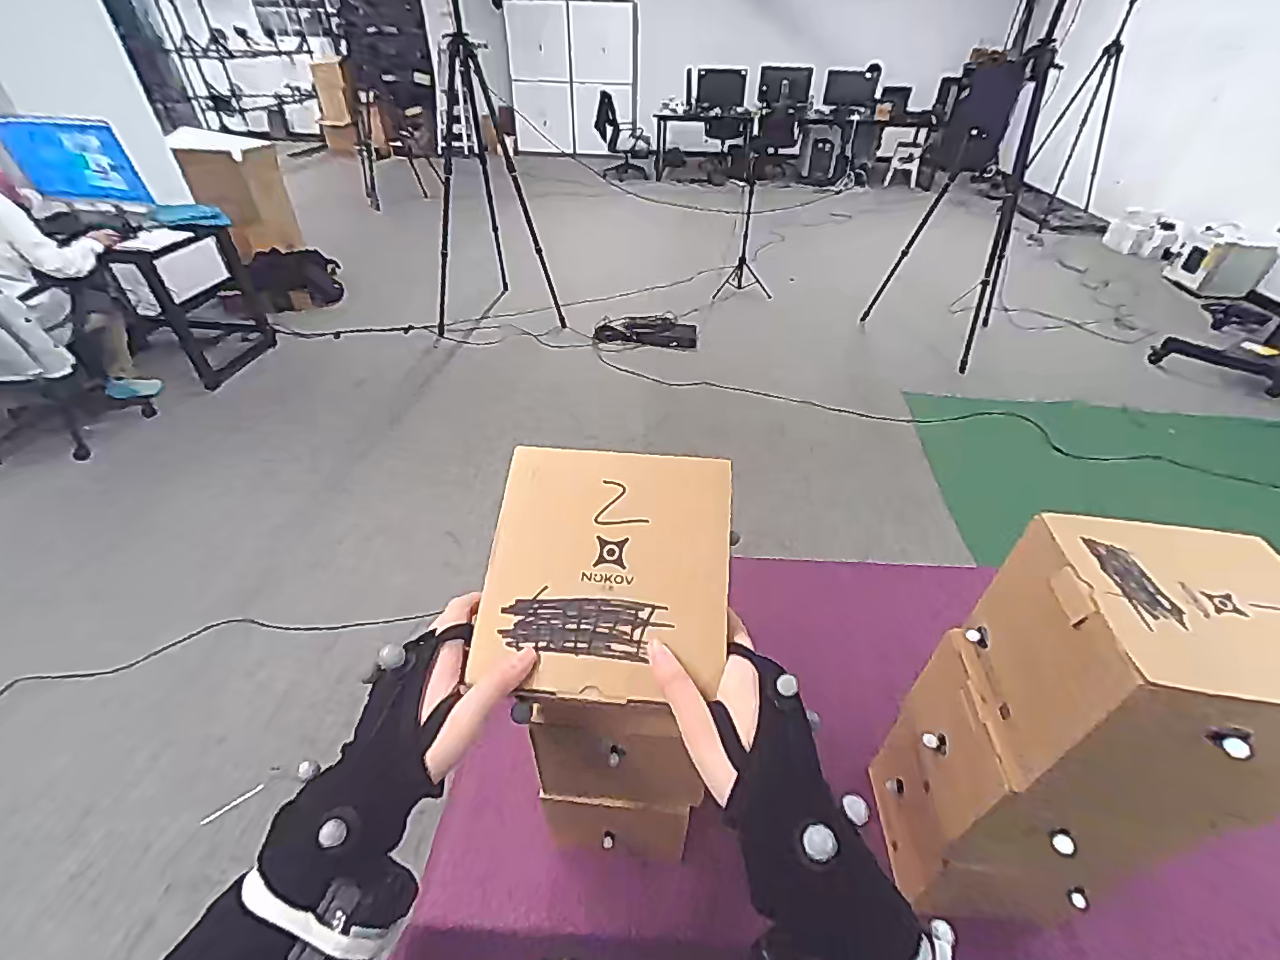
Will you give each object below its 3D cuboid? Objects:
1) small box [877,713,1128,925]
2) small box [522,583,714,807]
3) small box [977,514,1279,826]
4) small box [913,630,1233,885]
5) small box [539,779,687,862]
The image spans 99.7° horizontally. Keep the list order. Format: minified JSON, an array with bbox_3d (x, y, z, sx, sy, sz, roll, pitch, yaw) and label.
[{"bbox_3d":[0.402,0.405,0.647,0.179,0.176,0.168,4,39,3],"label":"small box"},{"bbox_3d":[-0.014,0.234,0.590,0.179,0.176,0.168,4,41,3],"label":"small box"},{"bbox_3d":[0.407,0.151,0.437,0.179,0.176,0.168,7,40,5],"label":"small box"},{"bbox_3d":[0.396,0.277,0.544,0.179,0.176,0.168,6,40,7],"label":"small box"},{"bbox_3d":[-0.021,0.360,0.694,0.168,0.176,0.179,5,39,4],"label":"small box"}]
